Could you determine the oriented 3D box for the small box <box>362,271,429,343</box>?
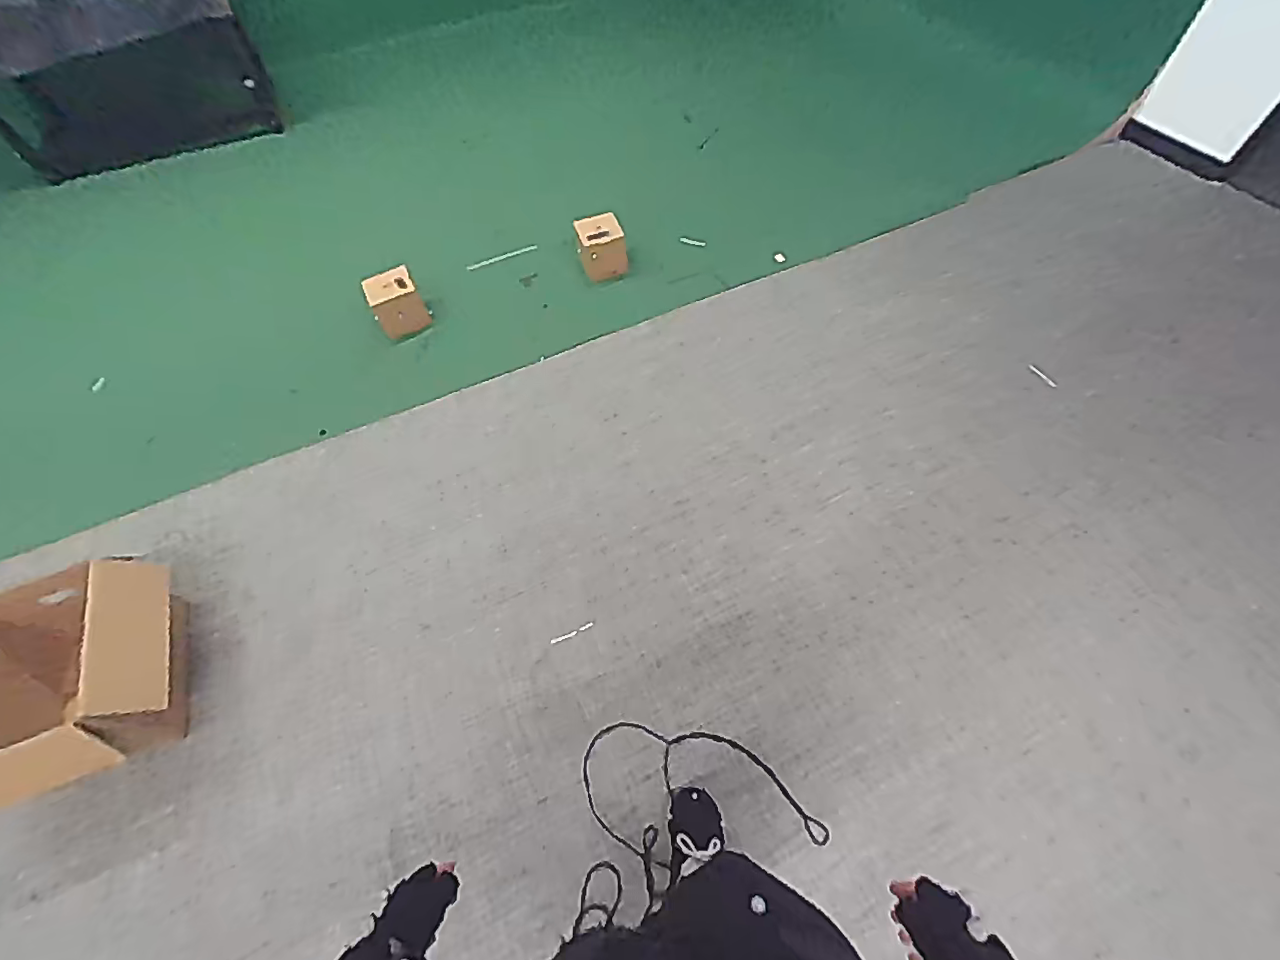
[{"bbox_3d":[-0.934,-0.665,2.085,0.179,0.176,0.168,-26,60,-11],"label":"small box"}]
